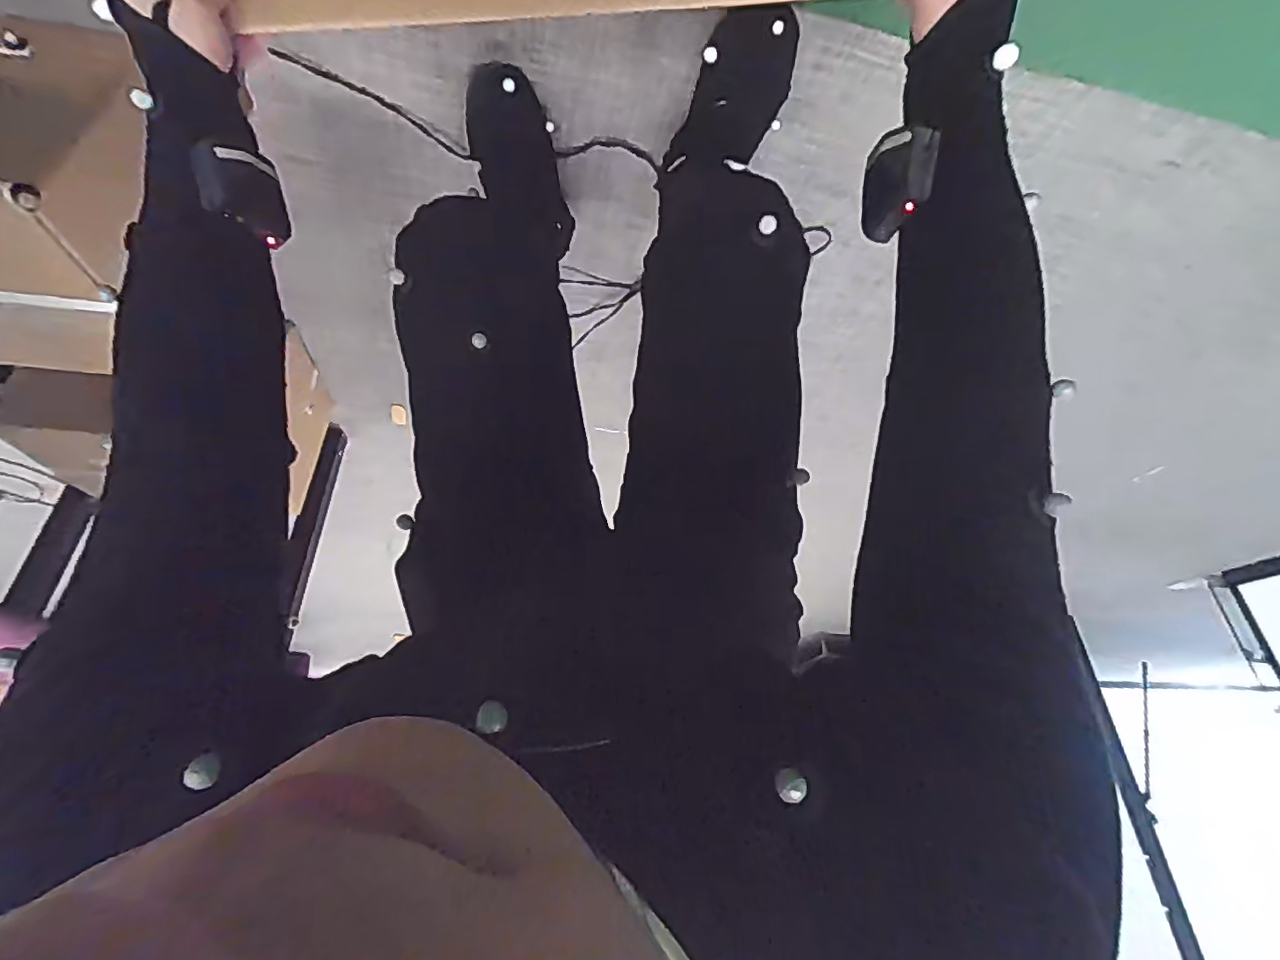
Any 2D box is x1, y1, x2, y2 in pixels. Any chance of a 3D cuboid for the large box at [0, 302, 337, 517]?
[{"bbox_3d":[-0.938,-0.136,1.149,0.408,0.320,0.320,6,150,-10],"label":"large box"}]
